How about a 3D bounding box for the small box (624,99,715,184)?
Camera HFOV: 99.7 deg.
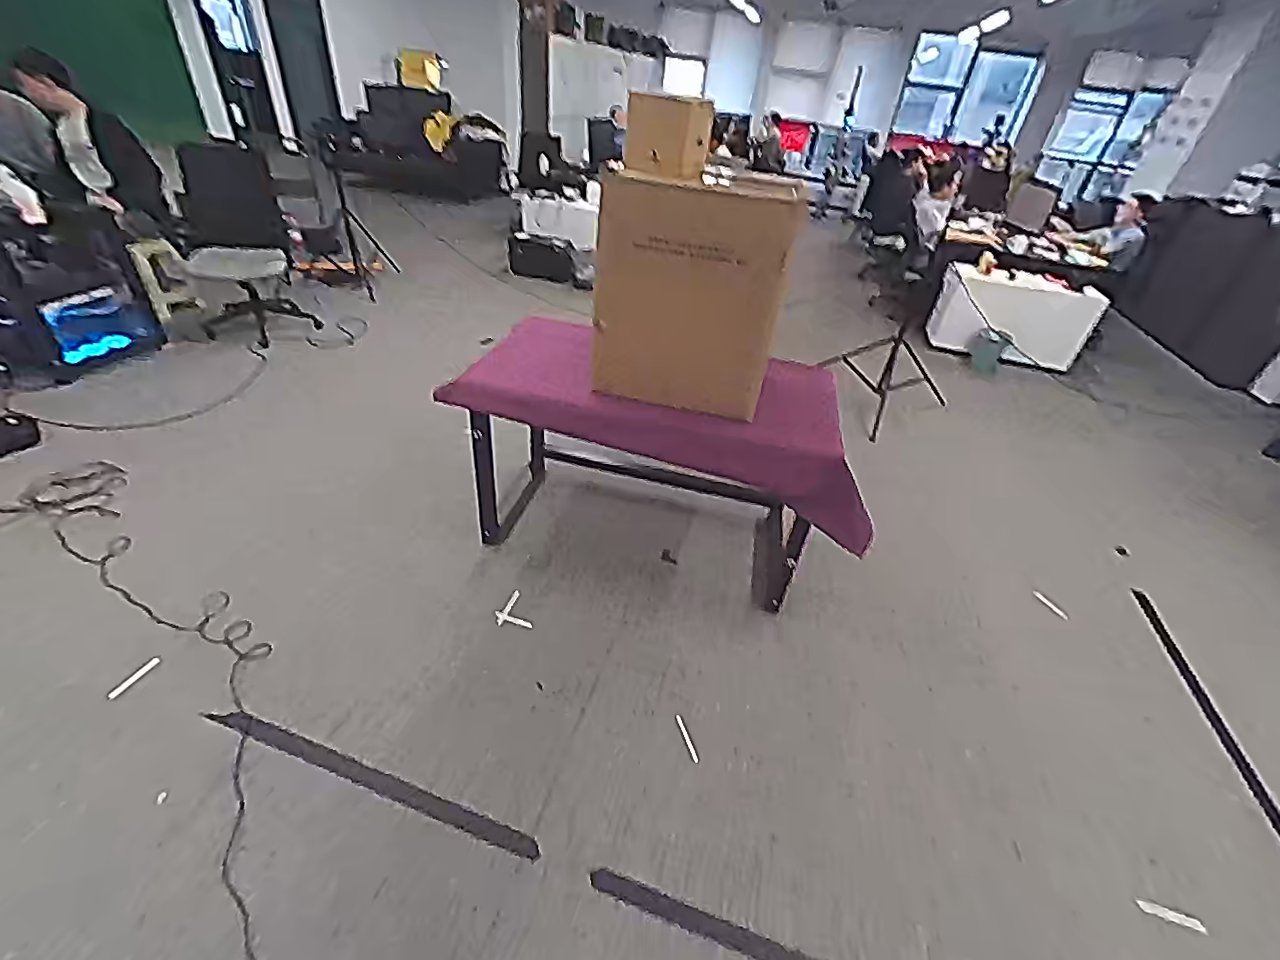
[{"bbox_3d":[0.075,-0.889,1.424,0.179,0.176,0.168,23,40,18],"label":"small box"}]
